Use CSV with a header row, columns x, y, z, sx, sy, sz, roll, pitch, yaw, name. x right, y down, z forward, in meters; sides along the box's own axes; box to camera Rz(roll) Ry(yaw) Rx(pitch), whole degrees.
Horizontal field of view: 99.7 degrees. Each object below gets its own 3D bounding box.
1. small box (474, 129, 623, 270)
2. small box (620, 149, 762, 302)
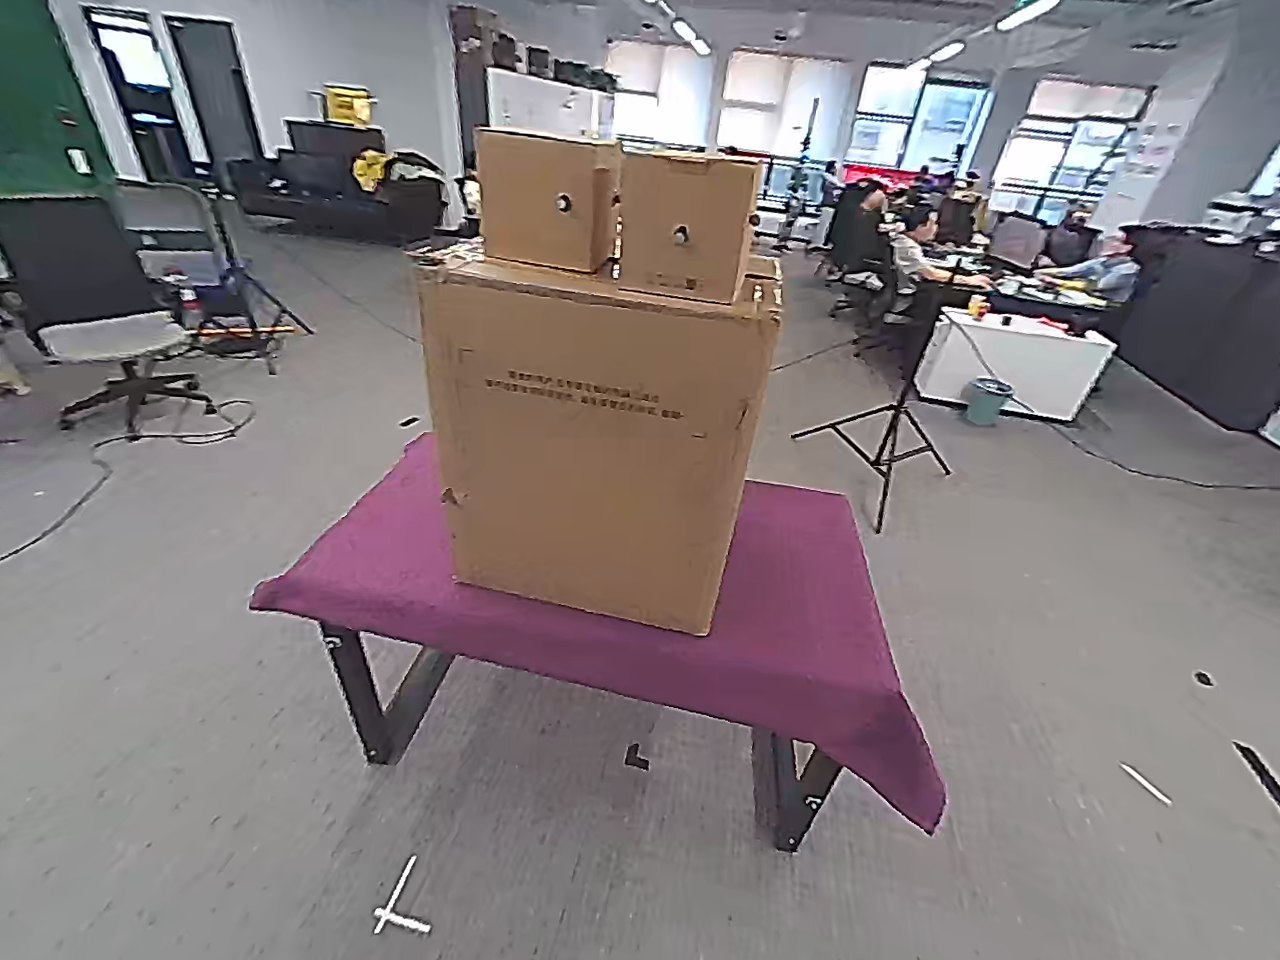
x,y,z,sx,sy,sz,roll,pitch,yaw,name
-0.134,-0.430,0.832,0.179,0.176,0.168,10,33,6,small box
0.071,-0.362,0.764,0.168,0.176,0.179,11,34,9,small box
